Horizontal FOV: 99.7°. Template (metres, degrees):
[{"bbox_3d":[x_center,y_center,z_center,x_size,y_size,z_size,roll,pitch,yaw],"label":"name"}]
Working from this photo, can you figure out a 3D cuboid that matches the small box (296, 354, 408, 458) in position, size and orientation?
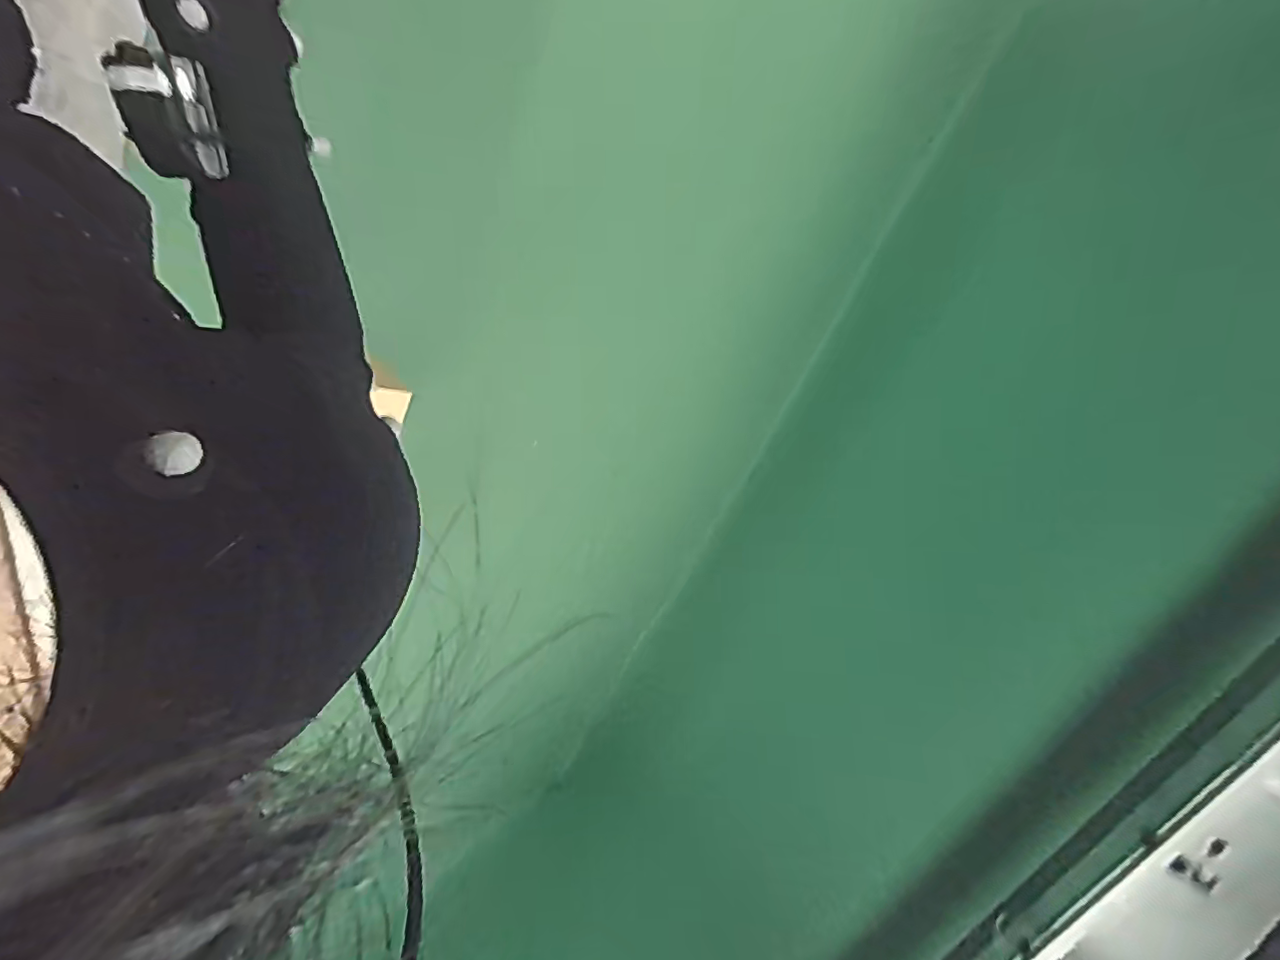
[{"bbox_3d":[-0.685,-0.172,1.275,0.168,0.176,0.179,1,120,-53],"label":"small box"}]
